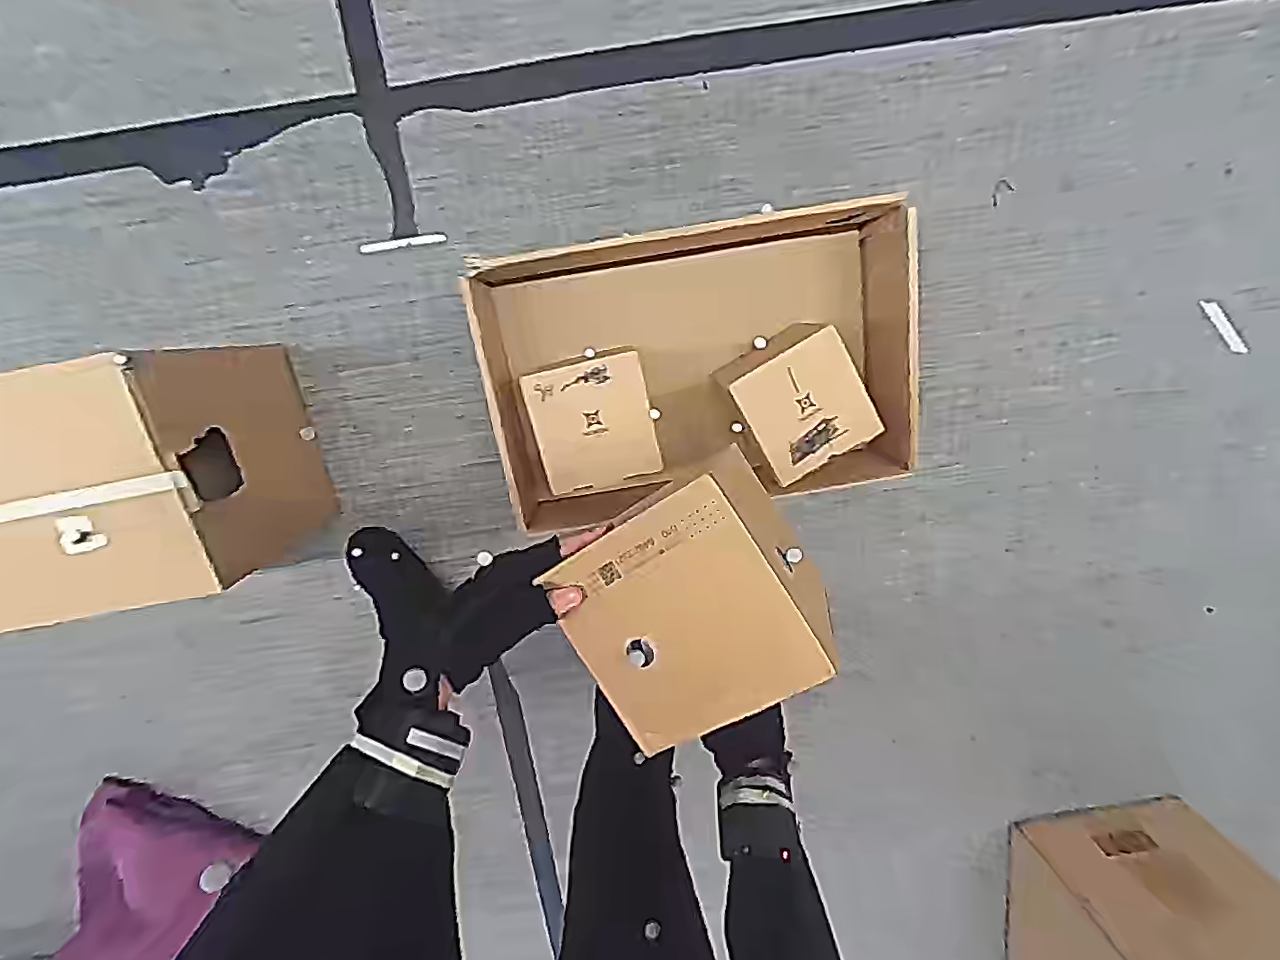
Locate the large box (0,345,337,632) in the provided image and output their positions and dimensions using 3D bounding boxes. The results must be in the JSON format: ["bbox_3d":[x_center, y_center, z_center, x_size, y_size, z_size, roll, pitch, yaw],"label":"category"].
[{"bbox_3d":[-0.762,-0.008,0.803,0.408,0.320,0.320,-11,106,0],"label":"large box"}]

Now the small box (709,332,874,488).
[{"bbox_3d":[0.225,-0.118,0.844,0.168,0.176,0.179,-30,104,6],"label":"small box"}]
